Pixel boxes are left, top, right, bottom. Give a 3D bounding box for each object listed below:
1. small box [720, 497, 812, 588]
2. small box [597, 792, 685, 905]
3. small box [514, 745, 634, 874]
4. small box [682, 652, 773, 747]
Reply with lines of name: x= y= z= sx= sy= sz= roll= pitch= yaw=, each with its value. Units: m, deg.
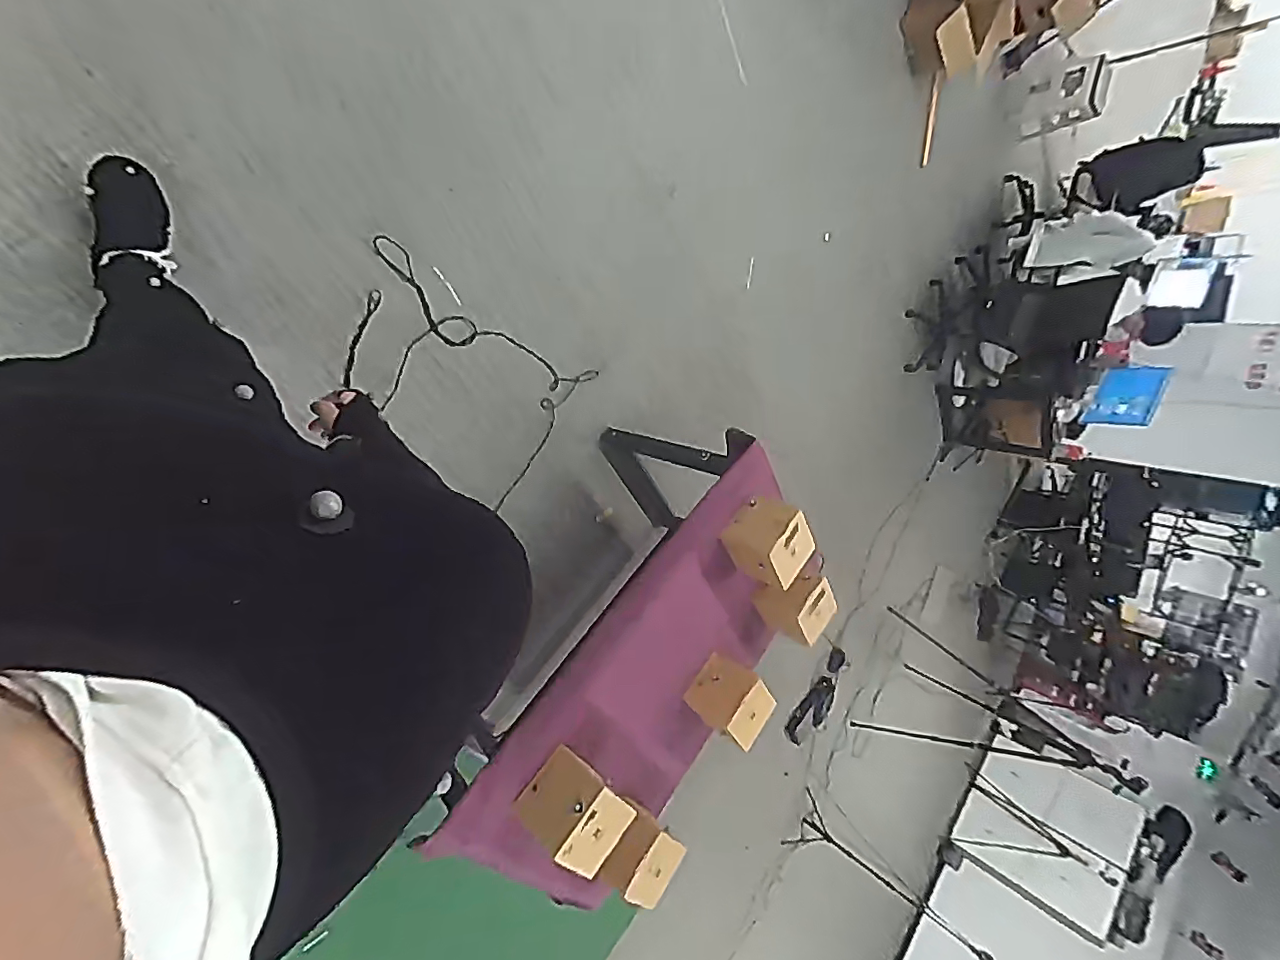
small box: x=0.352 y=0.167 z=1.521 sx=0.168 sy=0.176 sz=0.179 roll=-48 pitch=131 yaw=-20
small box: x=-0.017 y=0.962 z=1.422 sx=0.168 sy=0.176 sz=0.179 roll=-52 pitch=131 yaw=-22
small box: x=-0.150 y=0.743 z=1.232 sx=0.168 sy=0.176 sz=0.179 roll=-48 pitch=132 yaw=-23
small box: x=0.256 y=0.636 z=1.582 sx=0.168 sy=0.176 sz=0.179 roll=-49 pitch=129 yaw=-20
